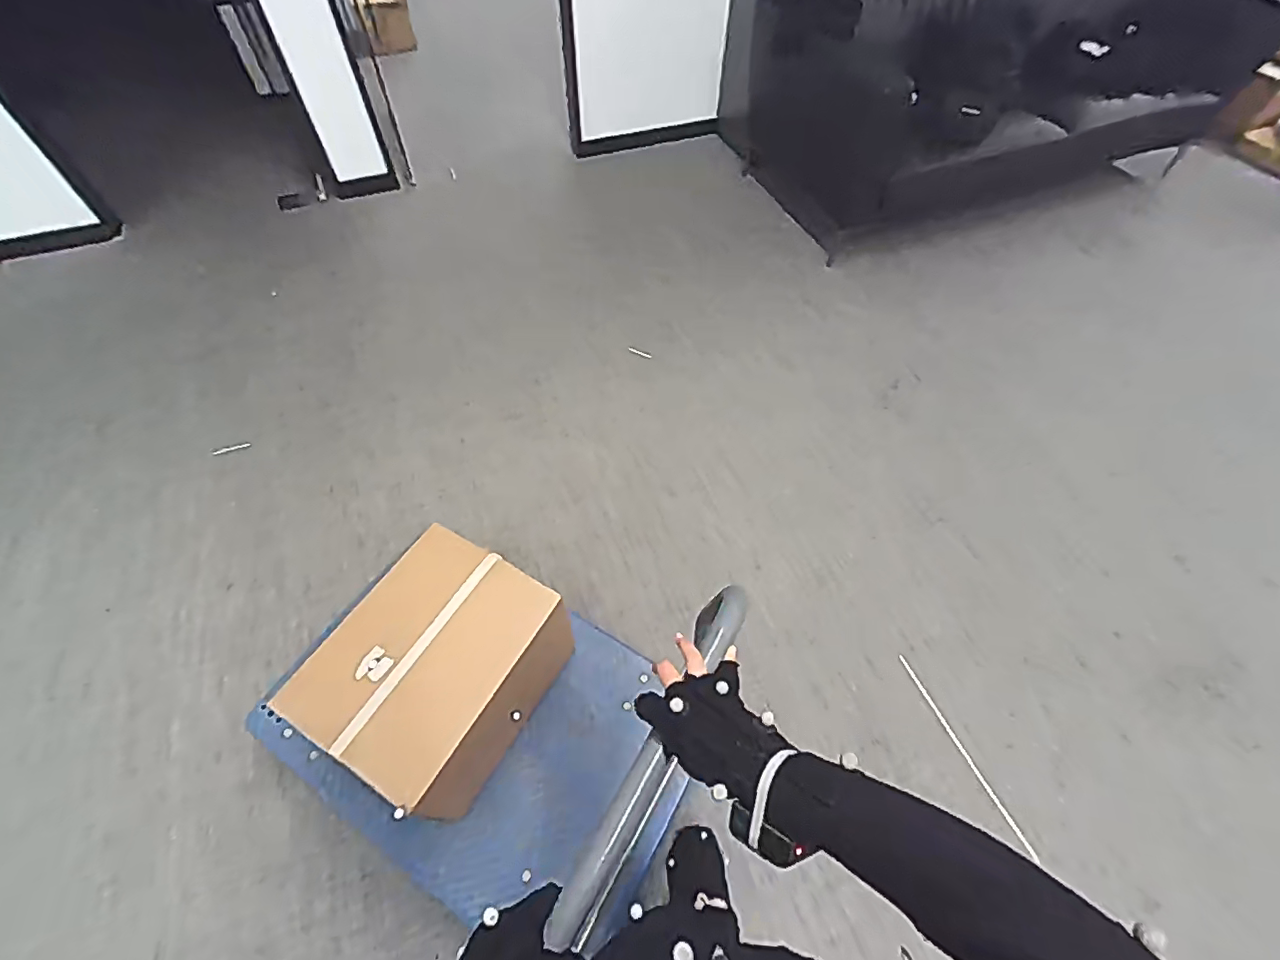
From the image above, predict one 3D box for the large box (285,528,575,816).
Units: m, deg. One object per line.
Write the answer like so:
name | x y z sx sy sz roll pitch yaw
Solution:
large box | -0.368 0.380 1.077 0.320 0.320 0.408 26 60 15
